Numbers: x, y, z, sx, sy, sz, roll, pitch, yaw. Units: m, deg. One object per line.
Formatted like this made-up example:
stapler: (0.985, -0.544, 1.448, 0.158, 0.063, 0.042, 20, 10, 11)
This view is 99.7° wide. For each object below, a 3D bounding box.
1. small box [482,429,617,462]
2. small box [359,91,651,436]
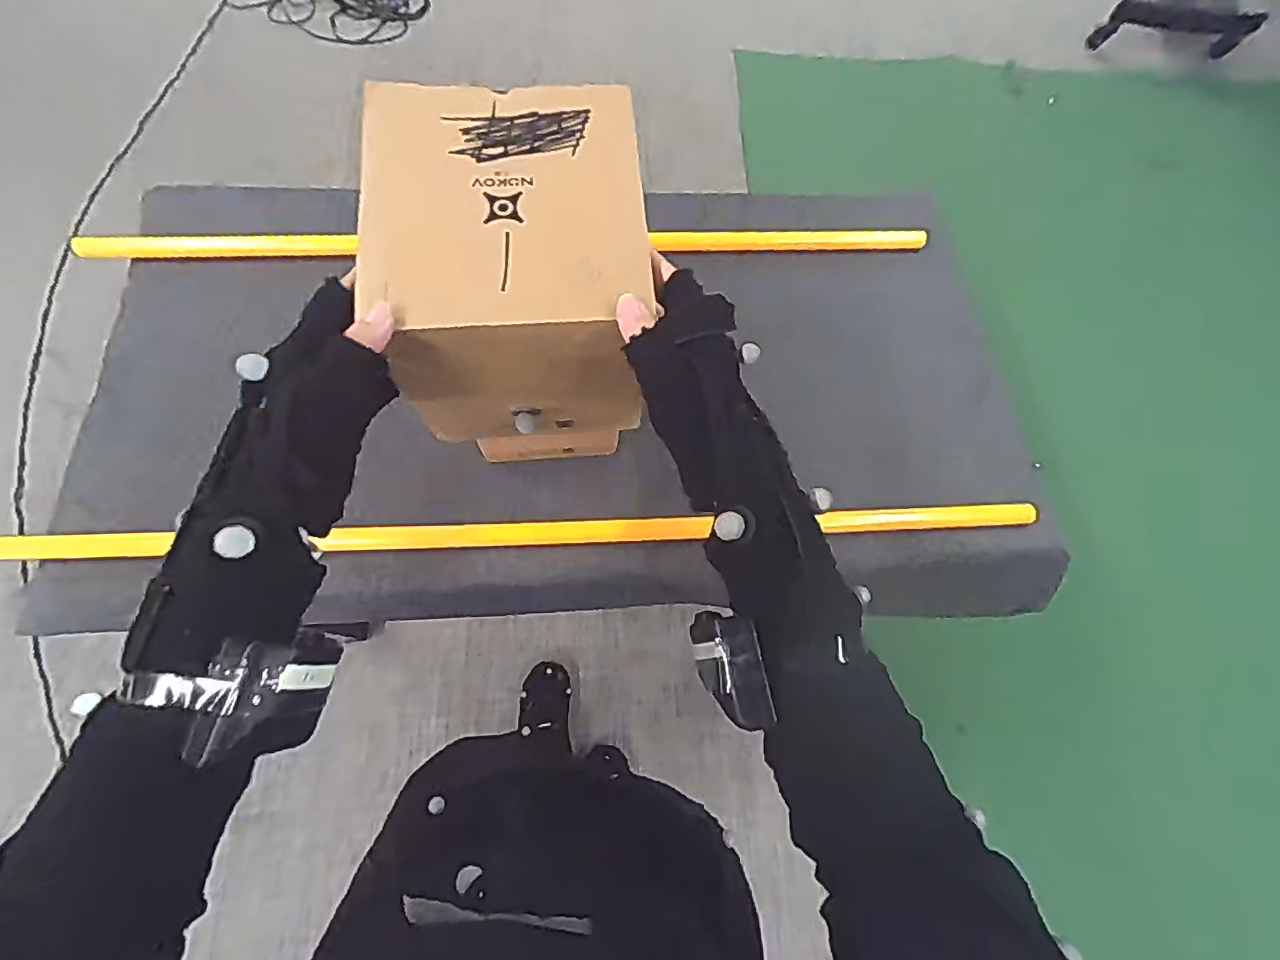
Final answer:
small box: (-0.115, -0.137, 0.648, 0.168, 0.176, 0.179, -4, 69, -6)
small box: (-0.086, -0.146, 0.404, 0.168, 0.176, 0.179, -4, 74, -5)
